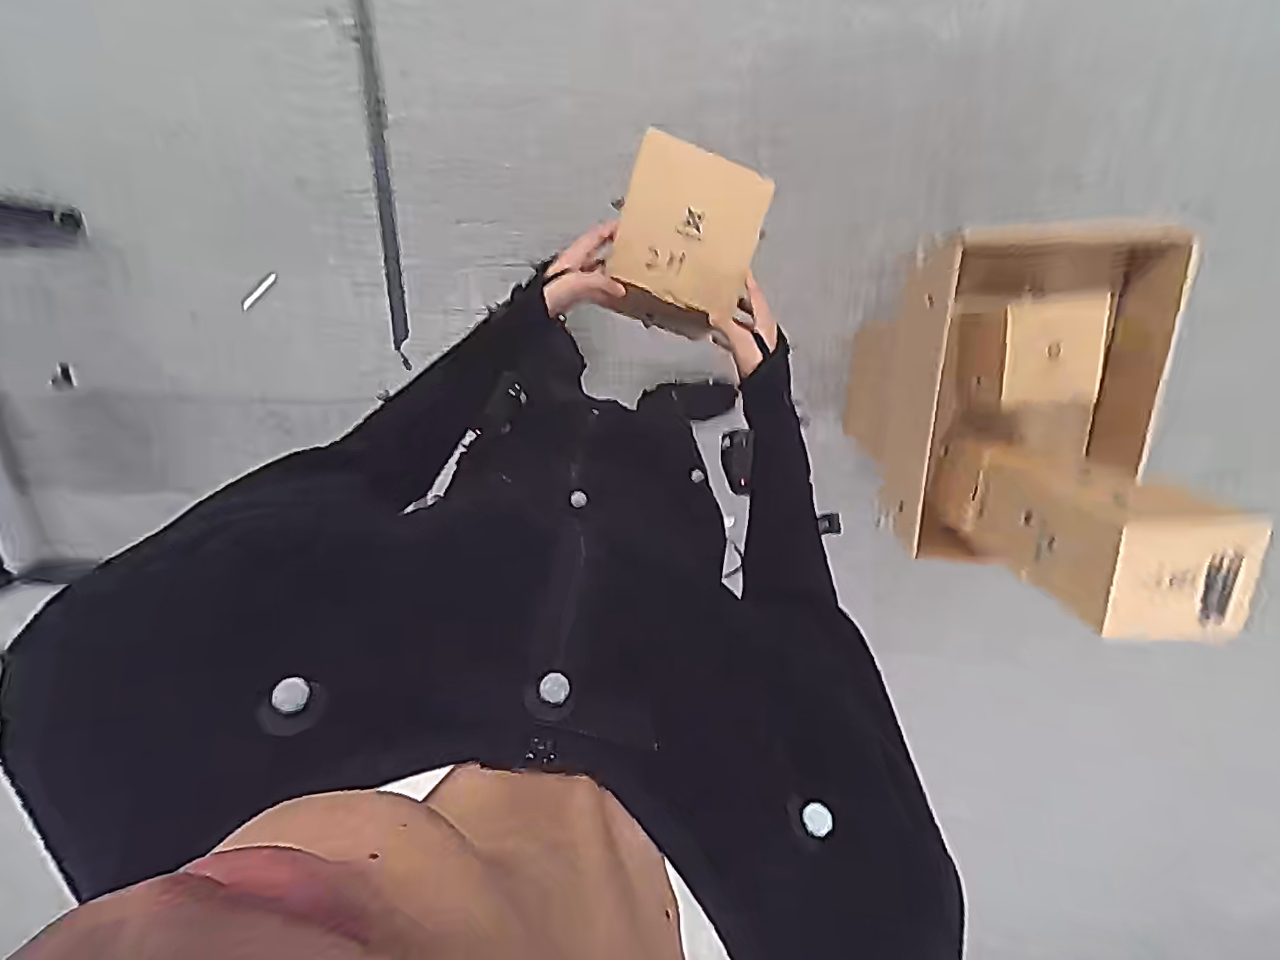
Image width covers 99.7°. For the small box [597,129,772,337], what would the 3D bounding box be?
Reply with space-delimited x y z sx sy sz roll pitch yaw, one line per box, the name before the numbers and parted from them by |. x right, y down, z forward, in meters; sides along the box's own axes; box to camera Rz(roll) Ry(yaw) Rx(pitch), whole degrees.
small box | 0.045 -0.305 0.711 0.168 0.176 0.179 16 94 -10

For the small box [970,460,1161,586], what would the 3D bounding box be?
small box | 0.718 0.067 0.936 0.179 0.176 0.168 4 107 2
